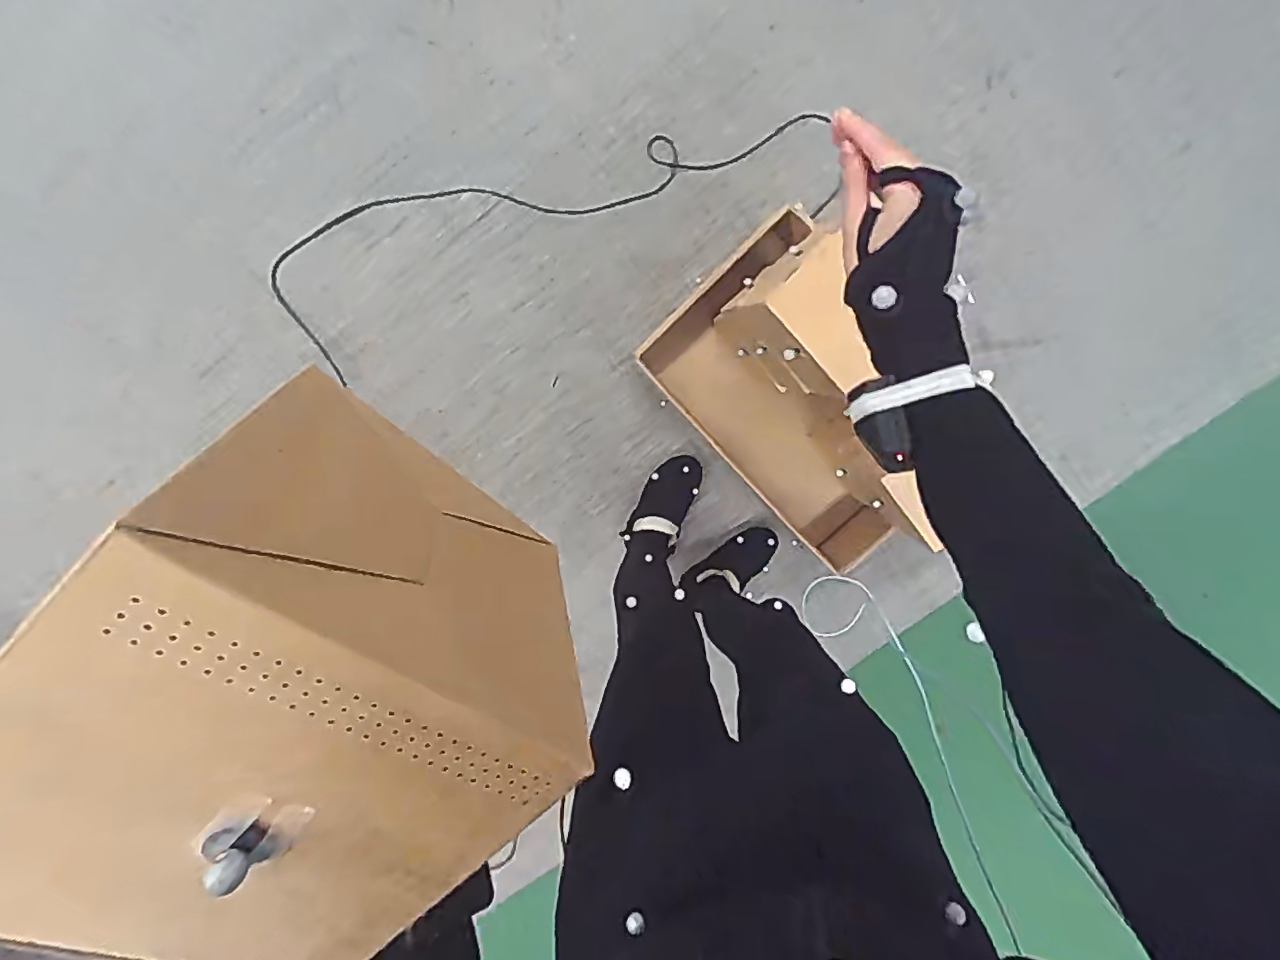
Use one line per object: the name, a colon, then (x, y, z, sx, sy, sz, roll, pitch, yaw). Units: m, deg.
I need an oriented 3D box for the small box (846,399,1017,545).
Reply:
small box: (0.488, -0.022, 0.940, 0.179, 0.176, 0.168, -39, 103, 6)

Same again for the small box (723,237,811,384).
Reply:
small box: (0.256, -0.275, 0.874, 0.168, 0.176, 0.179, -39, 102, 8)

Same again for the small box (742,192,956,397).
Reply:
small box: (0.261, -0.236, 0.717, 0.168, 0.176, 0.179, -43, 100, 10)

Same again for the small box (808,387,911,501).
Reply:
small box: (0.473, -0.072, 1.098, 0.168, 0.176, 0.179, -39, 101, 7)
